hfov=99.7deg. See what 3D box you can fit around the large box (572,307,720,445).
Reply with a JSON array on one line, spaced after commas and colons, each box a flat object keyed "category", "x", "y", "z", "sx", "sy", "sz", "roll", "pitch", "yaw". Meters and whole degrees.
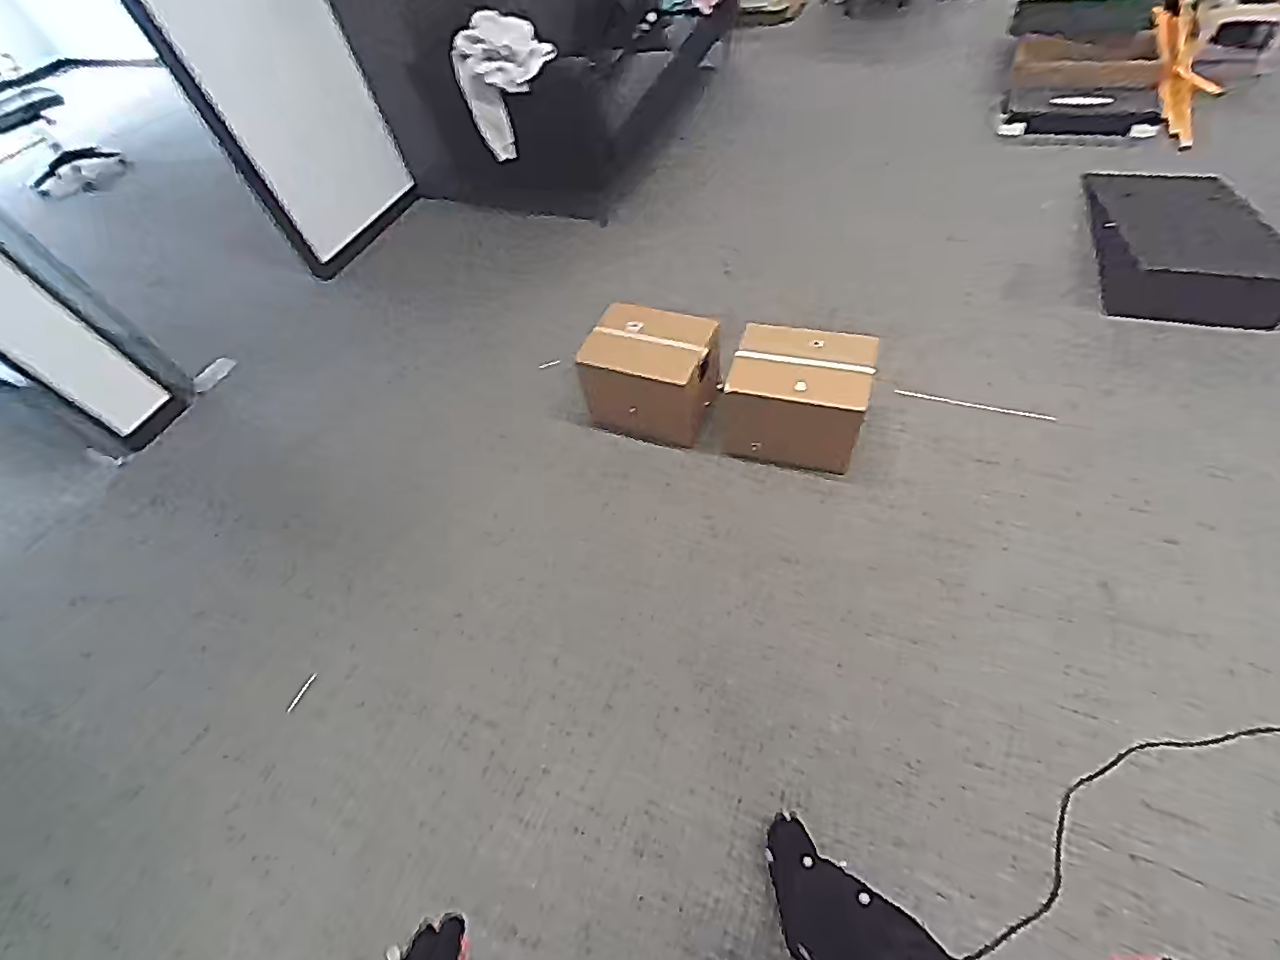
[{"category": "large box", "x": 0.039, "y": -0.365, "z": 1.895, "sx": 0.408, "sy": 0.320, "sz": 0.320, "roll": 16, "pitch": 59, "yaw": 21}]
